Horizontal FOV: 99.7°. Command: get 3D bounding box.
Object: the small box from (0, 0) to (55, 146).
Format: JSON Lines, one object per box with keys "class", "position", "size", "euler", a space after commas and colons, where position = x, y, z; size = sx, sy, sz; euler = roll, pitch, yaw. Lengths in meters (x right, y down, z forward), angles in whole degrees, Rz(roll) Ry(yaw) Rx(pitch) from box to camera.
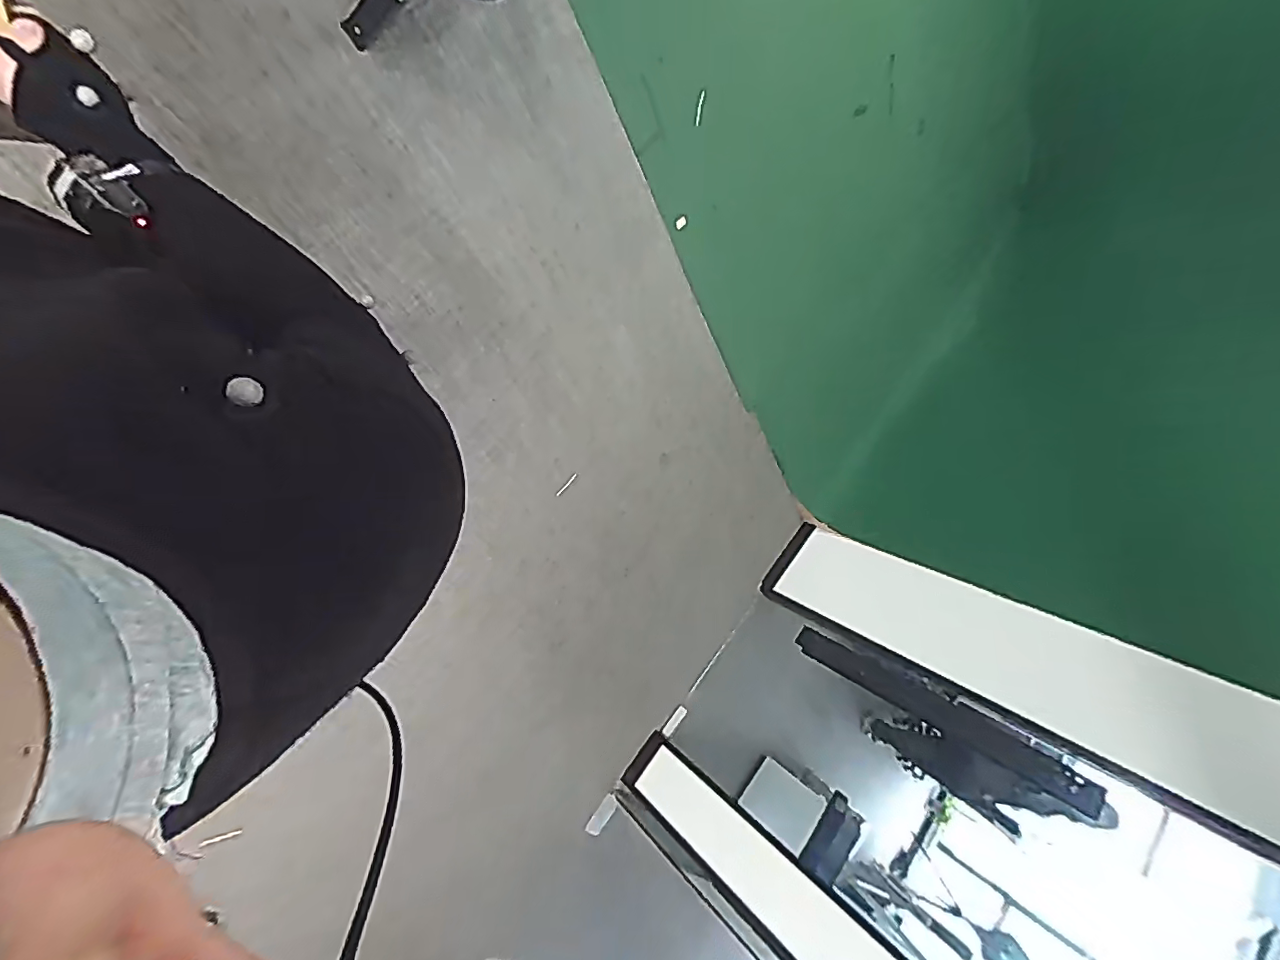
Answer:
{"class": "small box", "position": [-0.614, -0.388, 0.426], "size": [0.168, 0.176, 0.179], "euler": [-17, 111, -37]}
